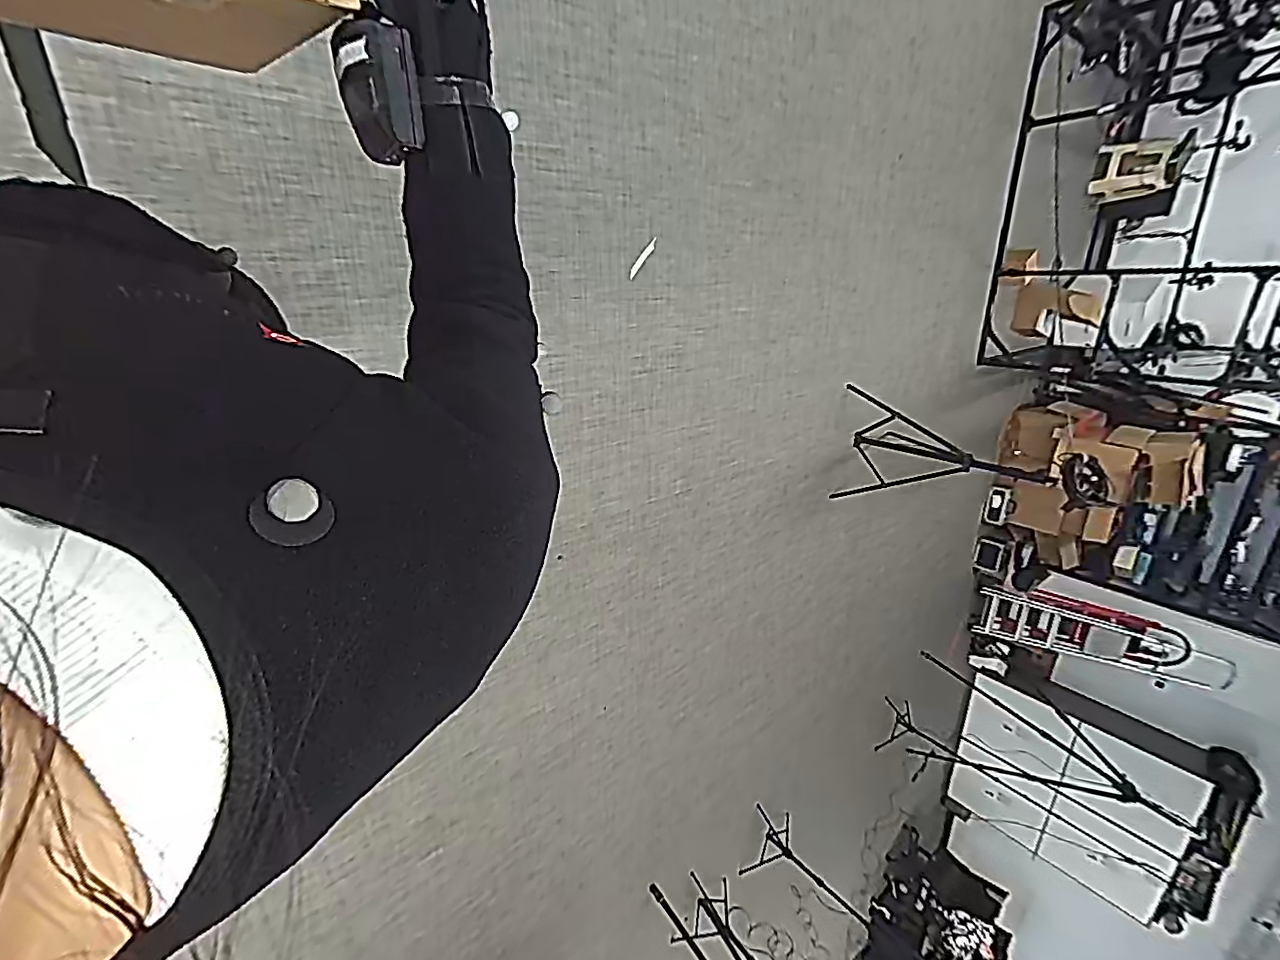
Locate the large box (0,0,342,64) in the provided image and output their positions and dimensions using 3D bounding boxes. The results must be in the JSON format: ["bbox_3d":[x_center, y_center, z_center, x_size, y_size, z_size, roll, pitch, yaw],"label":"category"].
[{"bbox_3d":[-0.399,-0.414,0.215,0.408,0.320,0.320,-17,125,-39],"label":"large box"}]
